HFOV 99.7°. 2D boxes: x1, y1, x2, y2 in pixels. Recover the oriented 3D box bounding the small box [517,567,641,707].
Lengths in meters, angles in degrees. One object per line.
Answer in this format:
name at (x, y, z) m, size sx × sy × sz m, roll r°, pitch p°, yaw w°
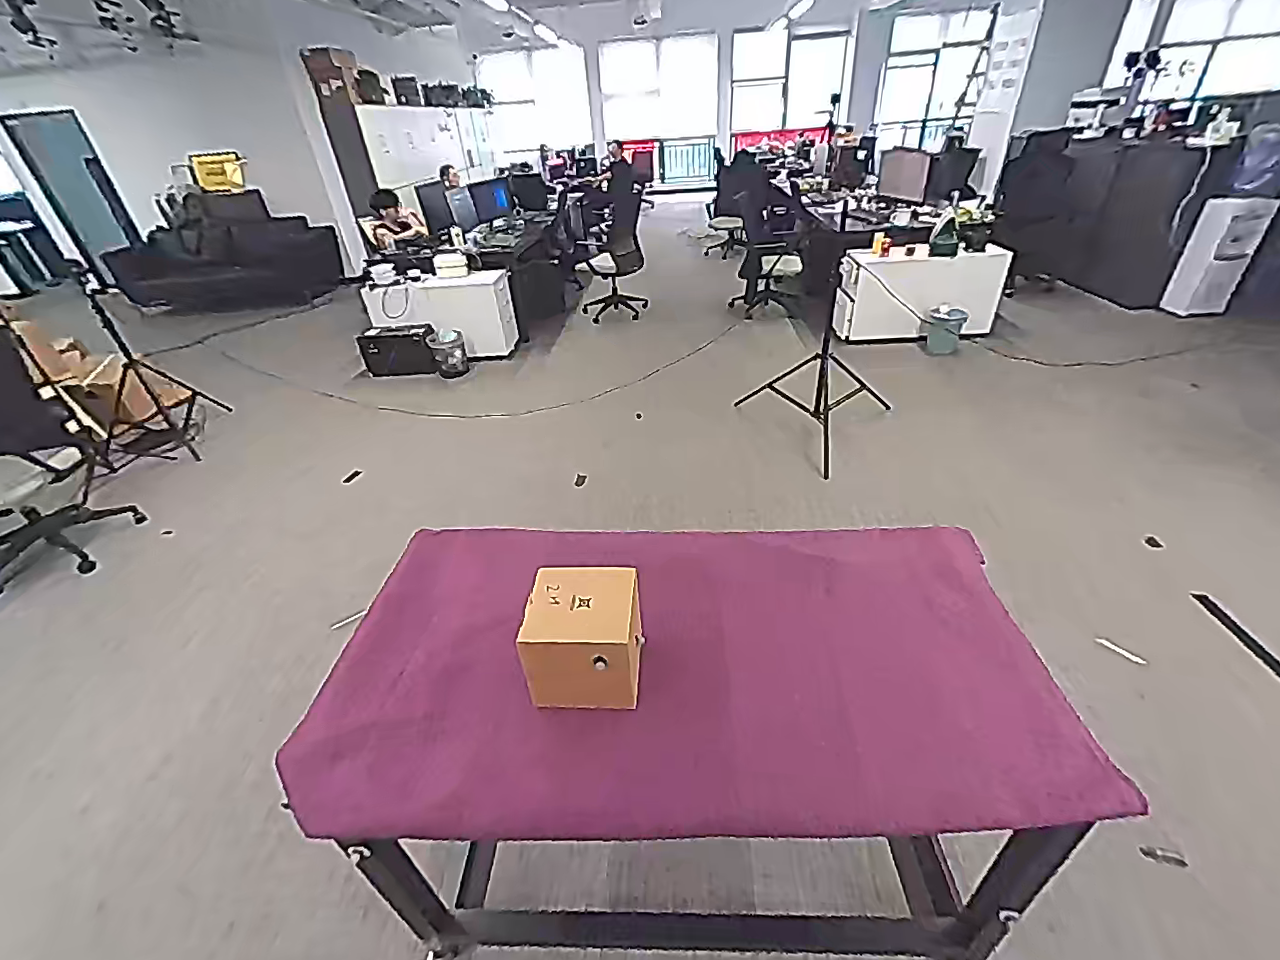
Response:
small box at (-0.091, 0.267, 0.923) m, size 0.179 × 0.176 × 0.168 m, roll -1°, pitch 33°, yaw 5°
